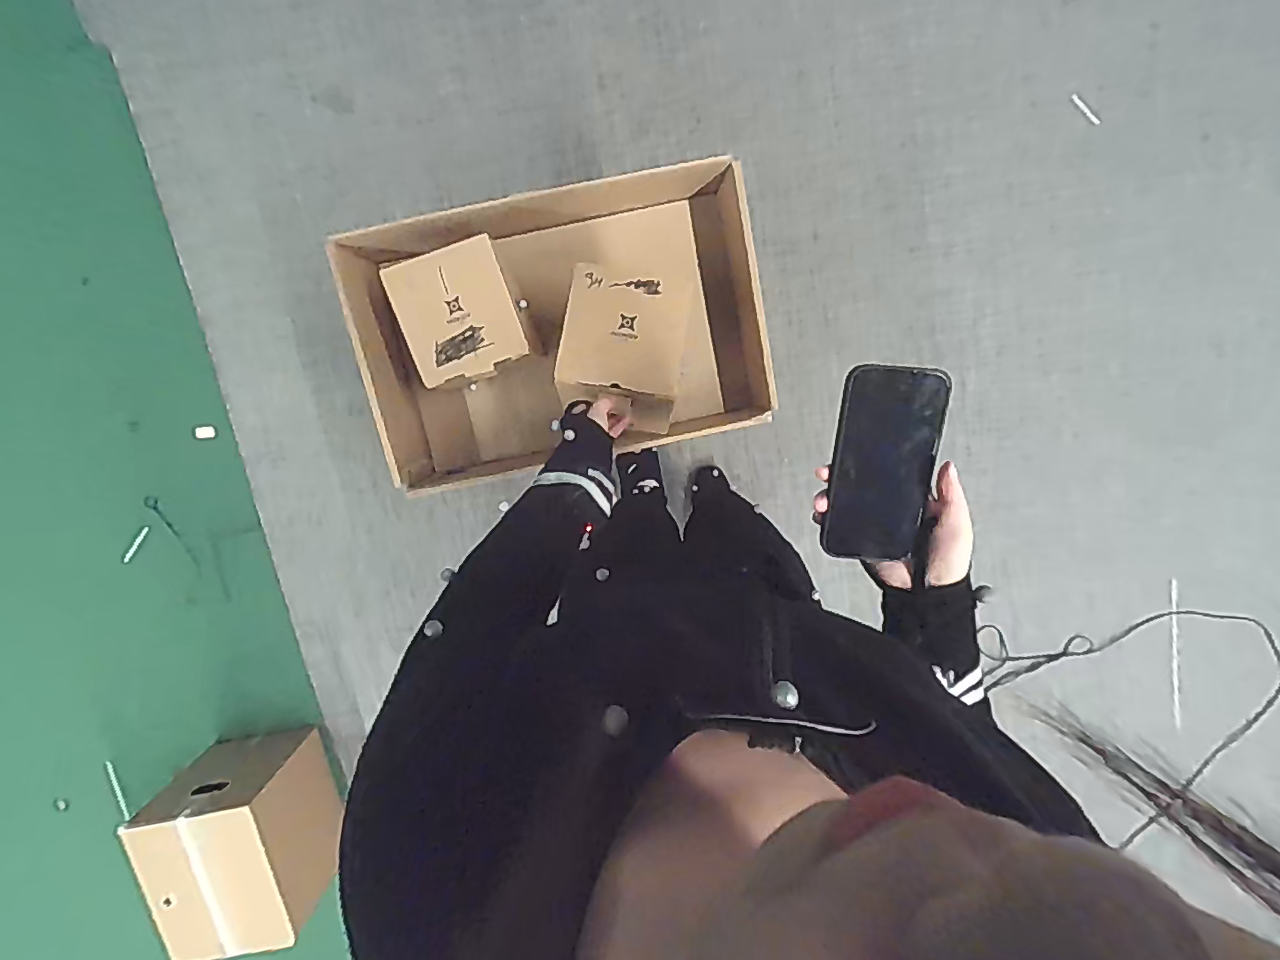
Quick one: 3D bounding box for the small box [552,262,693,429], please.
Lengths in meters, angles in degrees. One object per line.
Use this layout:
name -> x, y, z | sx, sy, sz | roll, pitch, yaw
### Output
small box -> -0.022, -0.186, 0.798 | 0.168, 0.176, 0.179 | 9, 80, 0

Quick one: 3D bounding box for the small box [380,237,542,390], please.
small box -> -0.267, -0.251, 0.854 | 0.168, 0.176, 0.179 | -19, 99, 1
